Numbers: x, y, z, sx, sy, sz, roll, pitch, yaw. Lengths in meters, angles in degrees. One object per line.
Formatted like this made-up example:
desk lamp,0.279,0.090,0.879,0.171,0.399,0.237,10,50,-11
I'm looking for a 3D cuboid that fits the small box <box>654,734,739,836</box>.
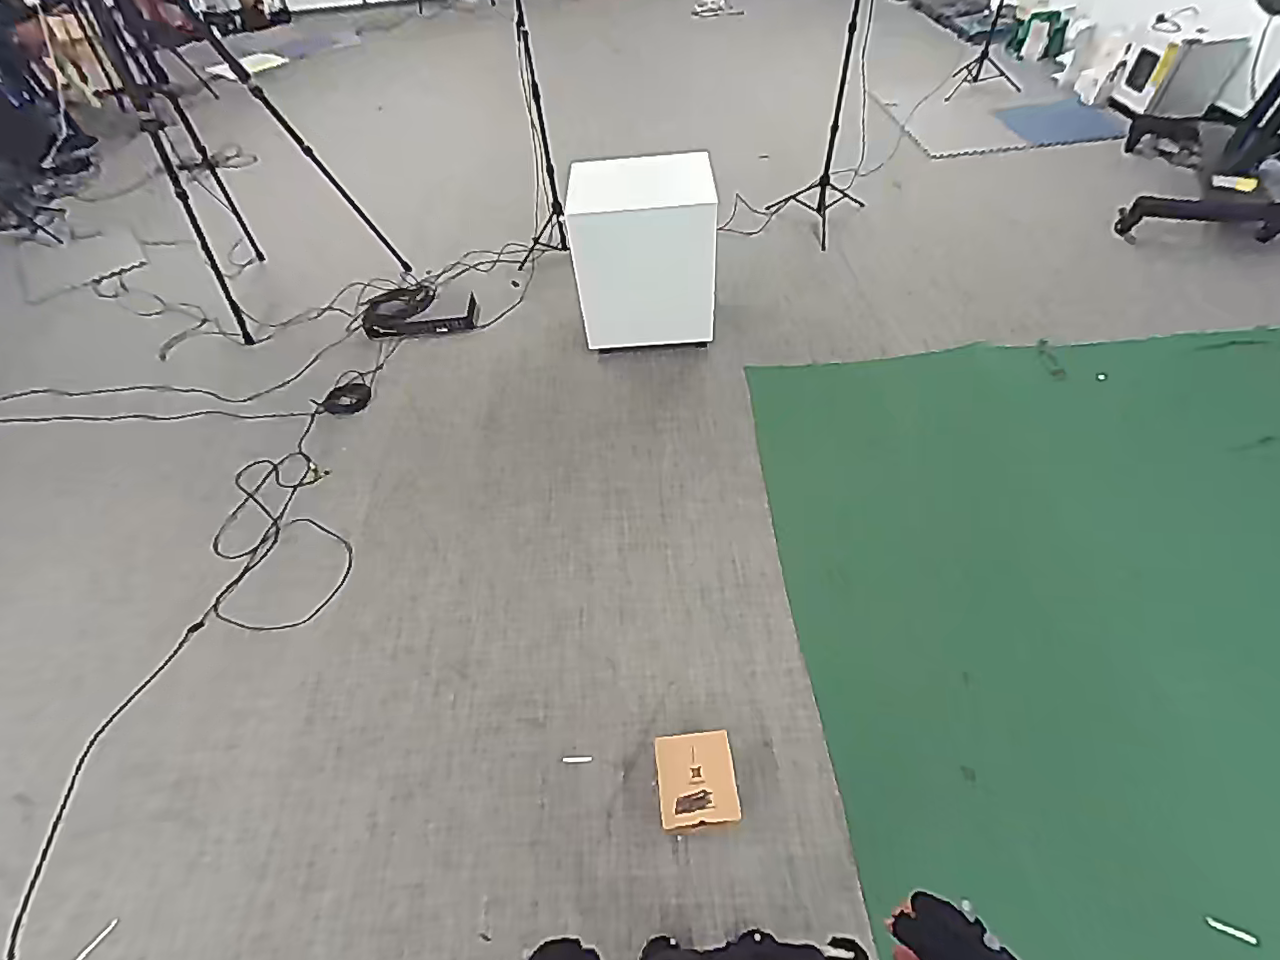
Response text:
small box,0.124,0.688,1.211,0.168,0.176,0.179,-6,52,1
